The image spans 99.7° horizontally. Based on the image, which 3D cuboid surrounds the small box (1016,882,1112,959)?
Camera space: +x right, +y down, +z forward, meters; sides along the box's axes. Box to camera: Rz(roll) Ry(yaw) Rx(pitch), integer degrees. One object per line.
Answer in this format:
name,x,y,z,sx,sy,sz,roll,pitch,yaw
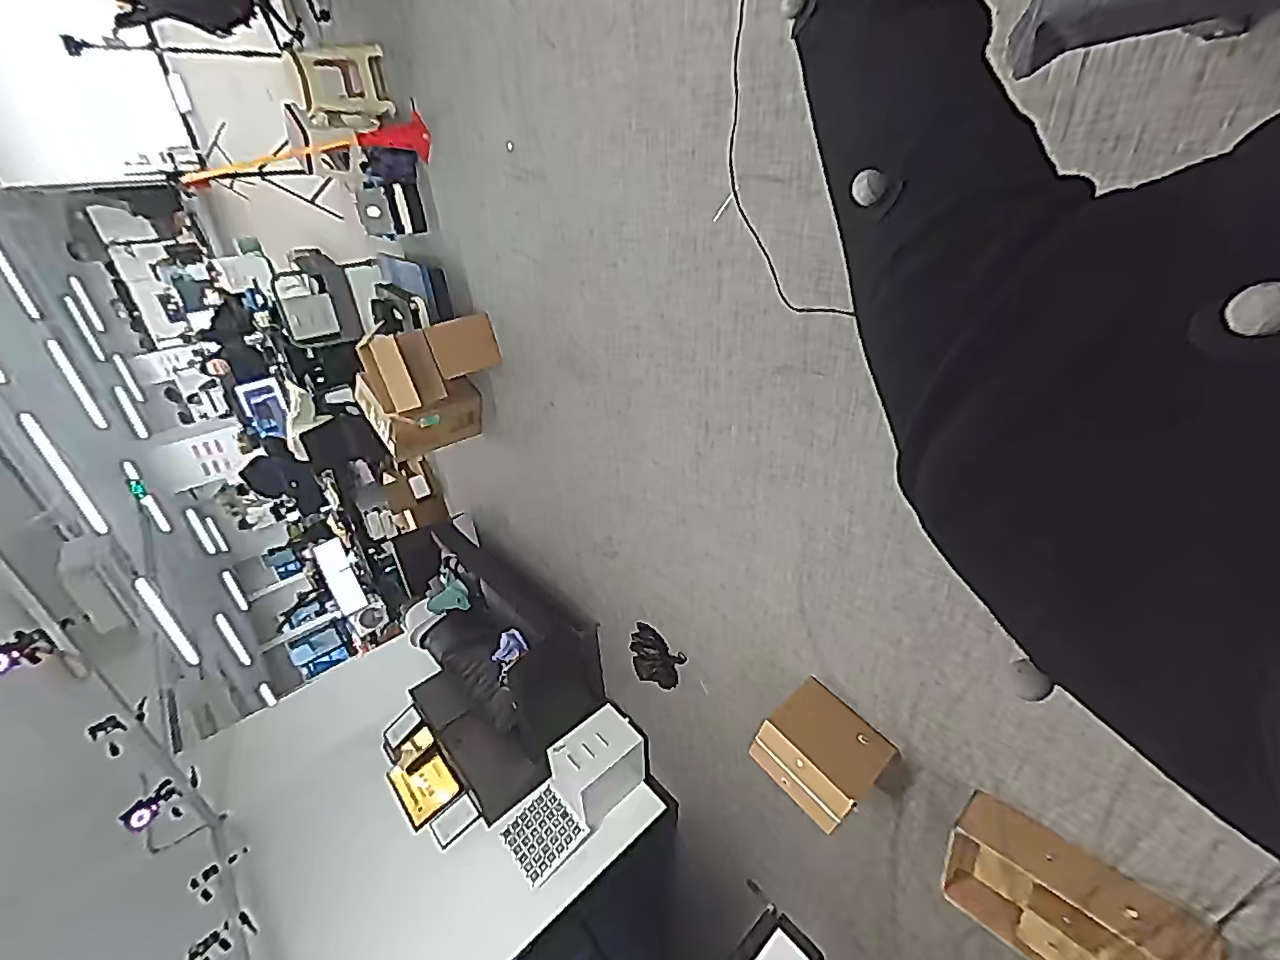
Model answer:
small box,1.278,1.377,1.627,0.179,0.176,0.168,23,128,47
